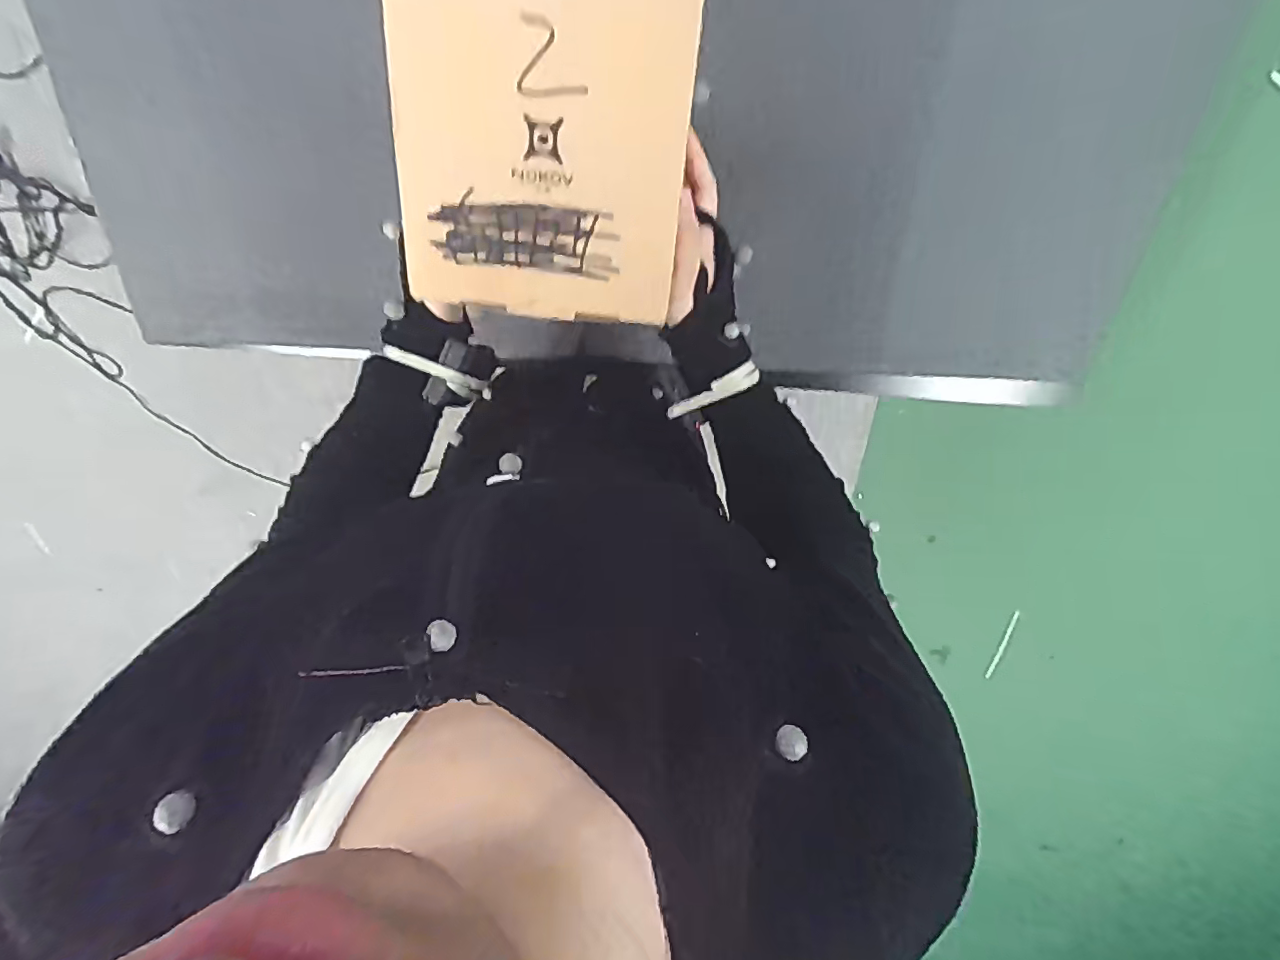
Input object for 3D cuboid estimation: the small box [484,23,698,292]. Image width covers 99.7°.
[{"bbox_3d":[-0.047,-0.295,0.523,0.168,0.176,0.179,8,117,-3],"label":"small box"}]
